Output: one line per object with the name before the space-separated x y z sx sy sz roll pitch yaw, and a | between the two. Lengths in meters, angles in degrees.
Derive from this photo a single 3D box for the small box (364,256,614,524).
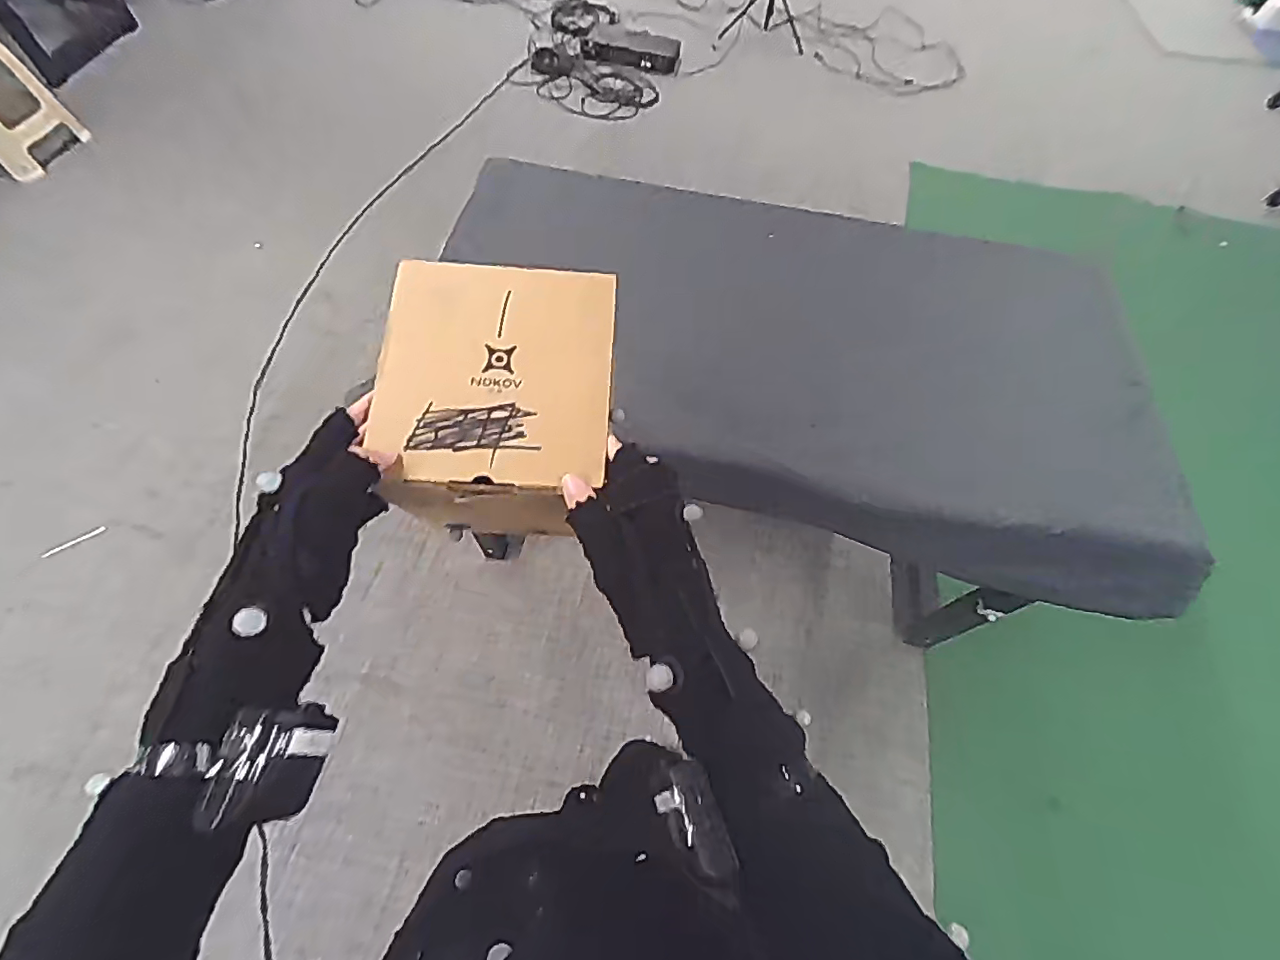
small box | -0.110 -0.063 0.474 0.168 0.176 0.179 4 72 -3
